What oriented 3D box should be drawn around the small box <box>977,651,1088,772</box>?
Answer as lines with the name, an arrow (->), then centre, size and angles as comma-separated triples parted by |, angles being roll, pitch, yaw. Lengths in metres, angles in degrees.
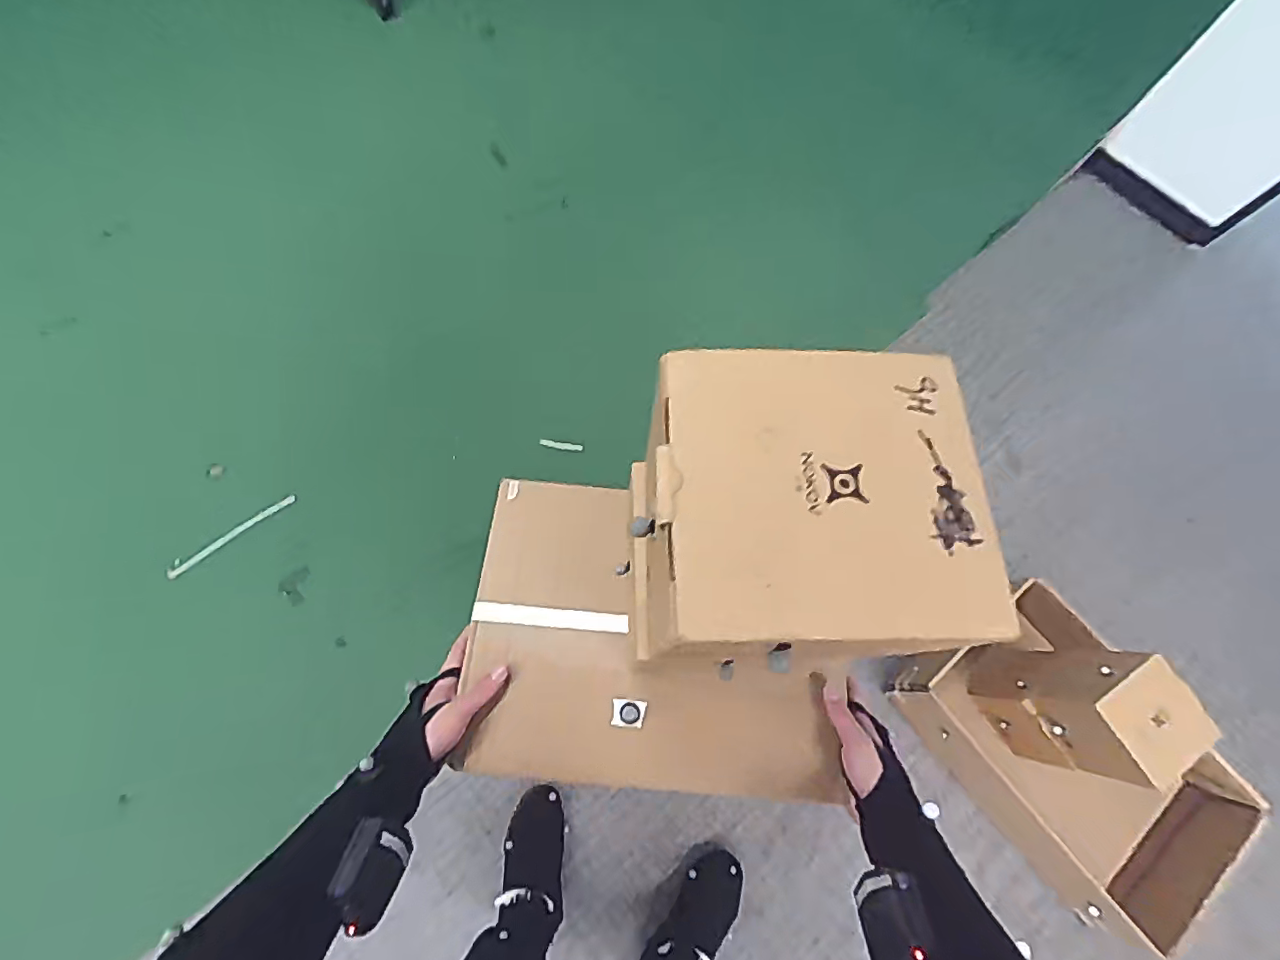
small box -> 0.890, 0.488, 1.174 | 0.179, 0.176, 0.168 | -33, 79, -12

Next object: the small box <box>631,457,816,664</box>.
small box -> 0.079, 0.085, 0.513 | 0.179, 0.176, 0.168 | 0, 70, -3

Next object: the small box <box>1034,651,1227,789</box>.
small box -> 0.908, 0.438, 1.020 | 0.179, 0.176, 0.168 | -29, 77, -12

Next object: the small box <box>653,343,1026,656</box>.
small box -> 0.098, 0.027, 0.361 | 0.179, 0.176, 0.168 | 0, 70, -2
